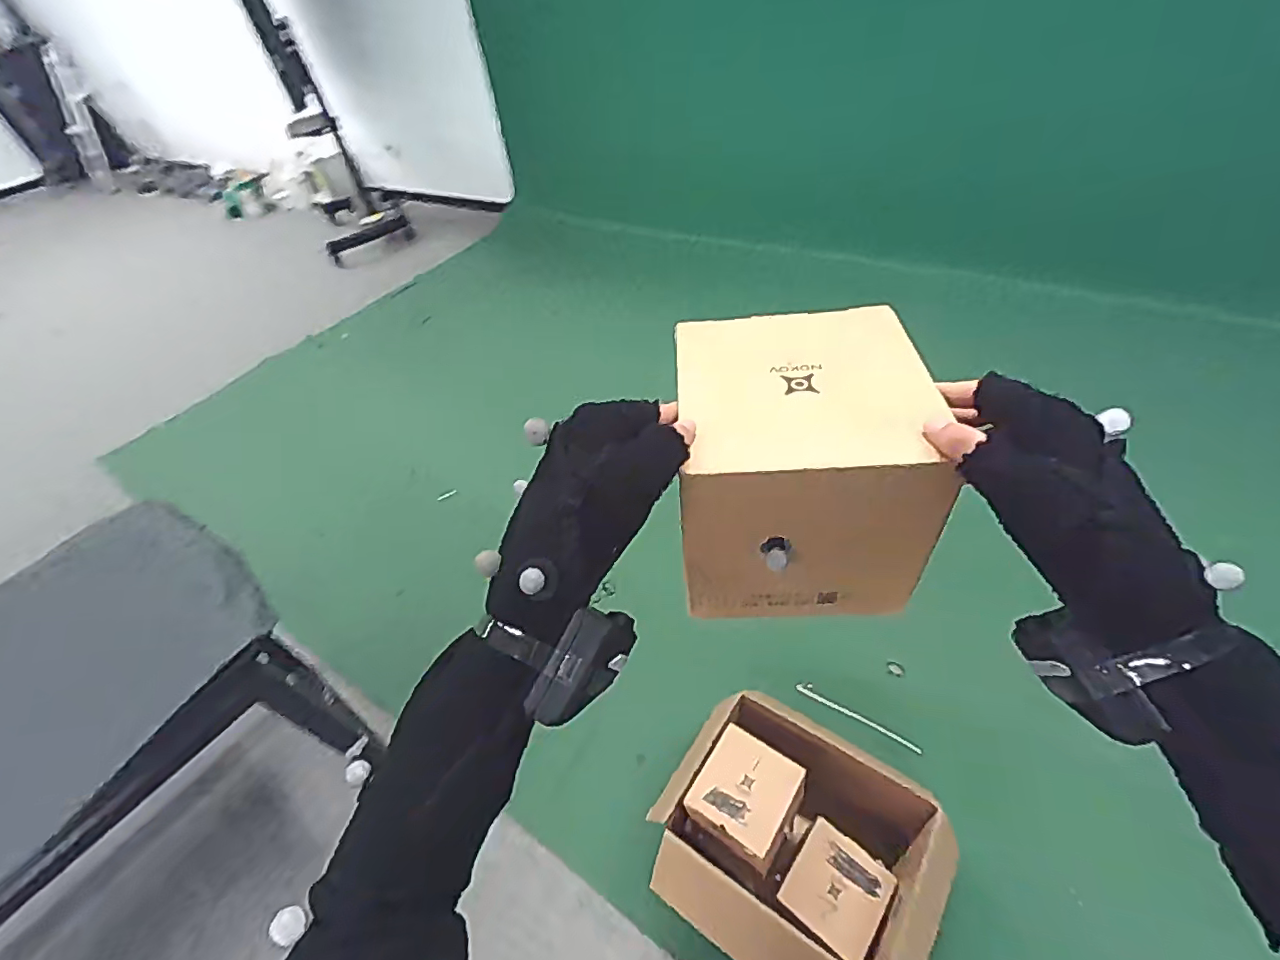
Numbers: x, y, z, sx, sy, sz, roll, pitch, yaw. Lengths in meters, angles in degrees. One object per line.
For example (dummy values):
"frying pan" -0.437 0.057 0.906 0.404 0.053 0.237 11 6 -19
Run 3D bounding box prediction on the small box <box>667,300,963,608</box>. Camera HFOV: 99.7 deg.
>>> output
"small box" 0.110 -0.012 0.417 0.168 0.176 0.179 -4 46 5
